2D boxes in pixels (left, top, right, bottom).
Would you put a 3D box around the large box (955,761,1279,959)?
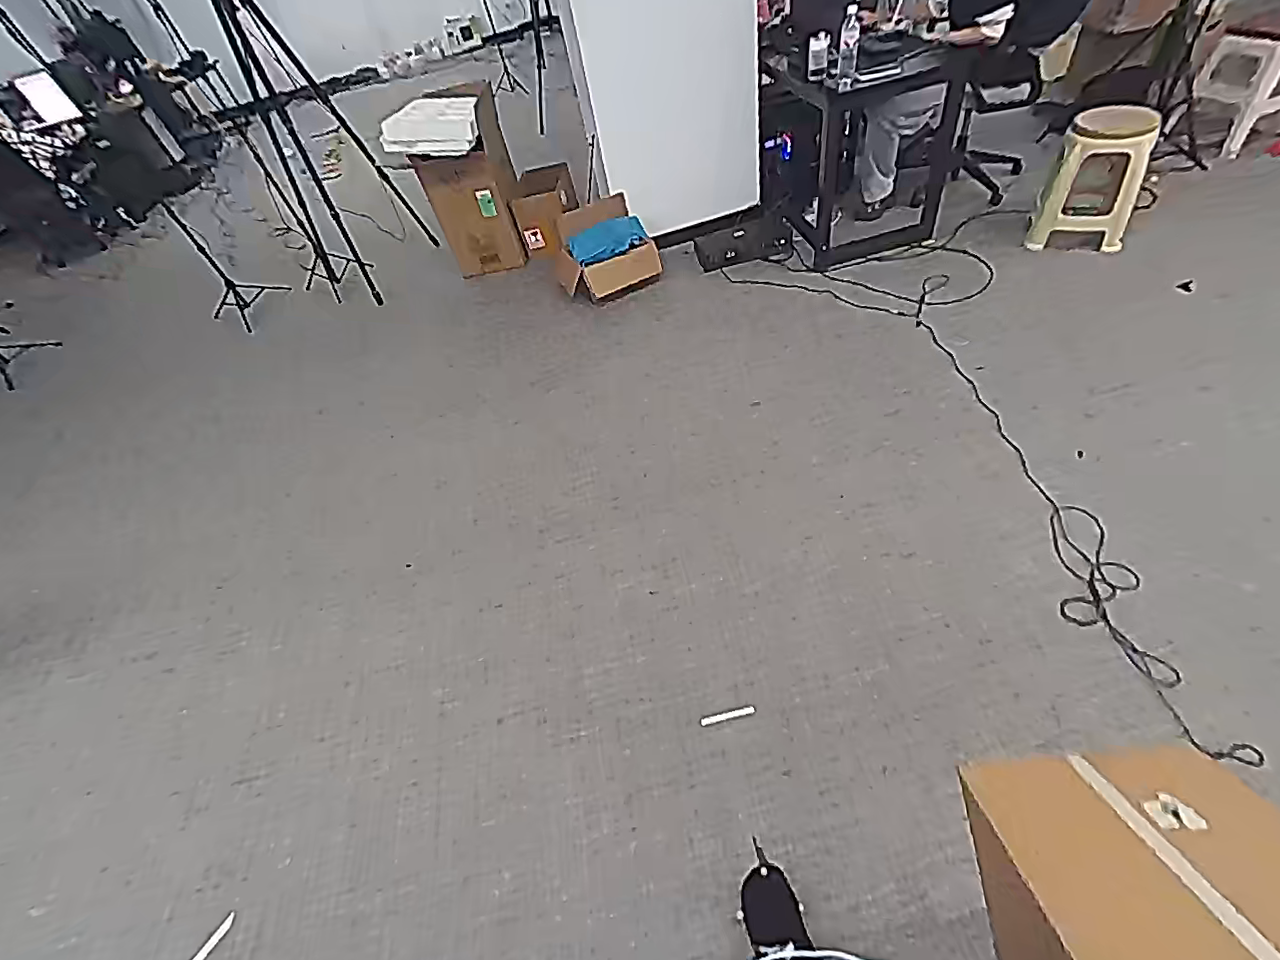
[{"bbox_3d":[0.630,0.593,0.621,0.320,0.408,0.320,-10,91,11],"label":"large box"}]
